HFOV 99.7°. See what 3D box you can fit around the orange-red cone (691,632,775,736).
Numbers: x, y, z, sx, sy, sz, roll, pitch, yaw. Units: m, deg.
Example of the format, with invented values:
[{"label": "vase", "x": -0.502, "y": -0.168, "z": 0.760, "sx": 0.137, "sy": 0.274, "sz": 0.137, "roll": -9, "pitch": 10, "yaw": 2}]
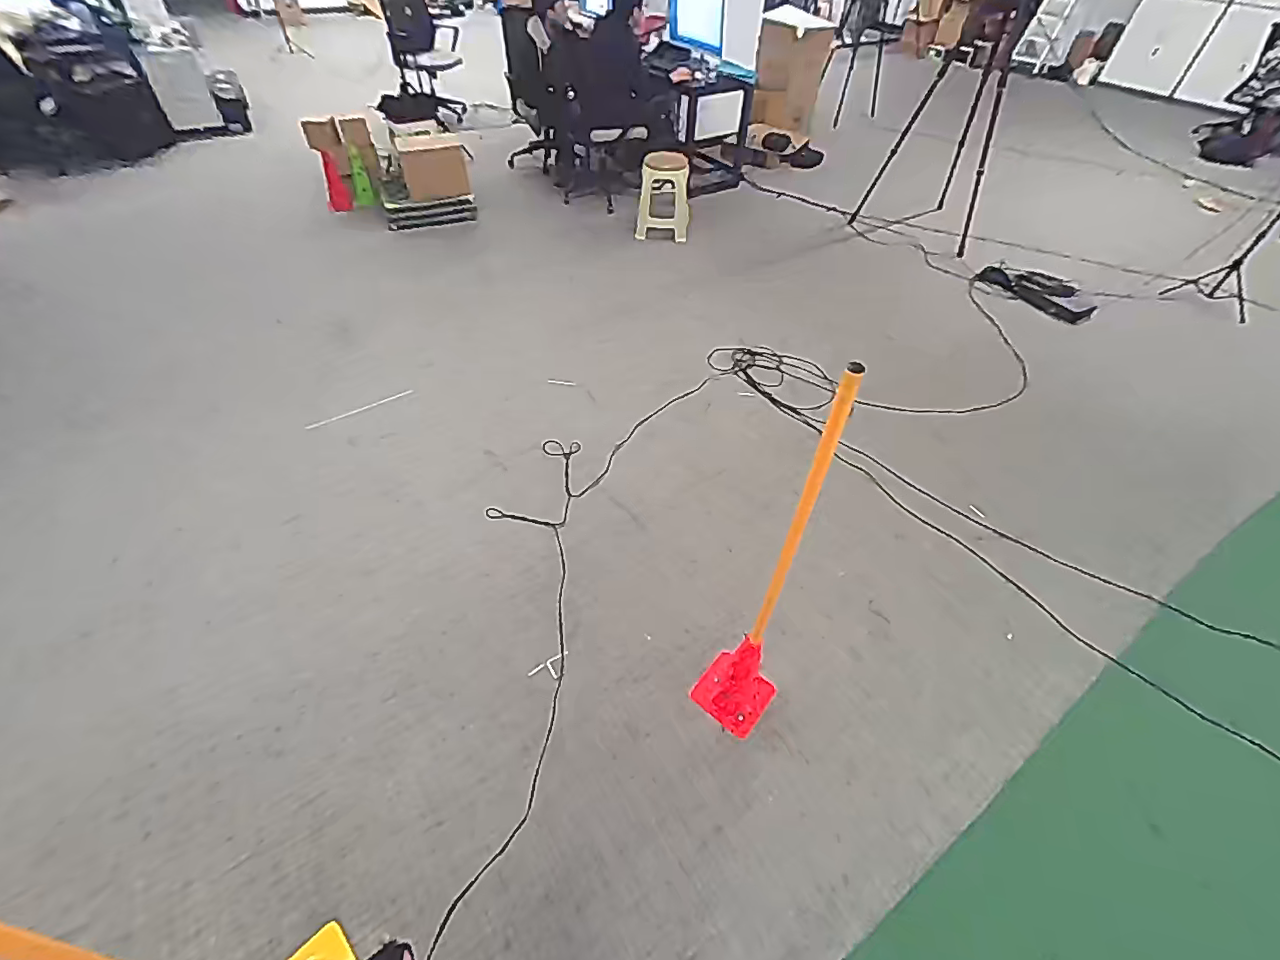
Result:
[{"label": "orange-red cone", "x": 0.286, "y": 0.518, "z": 1.492, "sx": 0.198, "sy": 0.360, "sz": 0.199, "roll": 34, "pitch": 54, "yaw": 25}]
